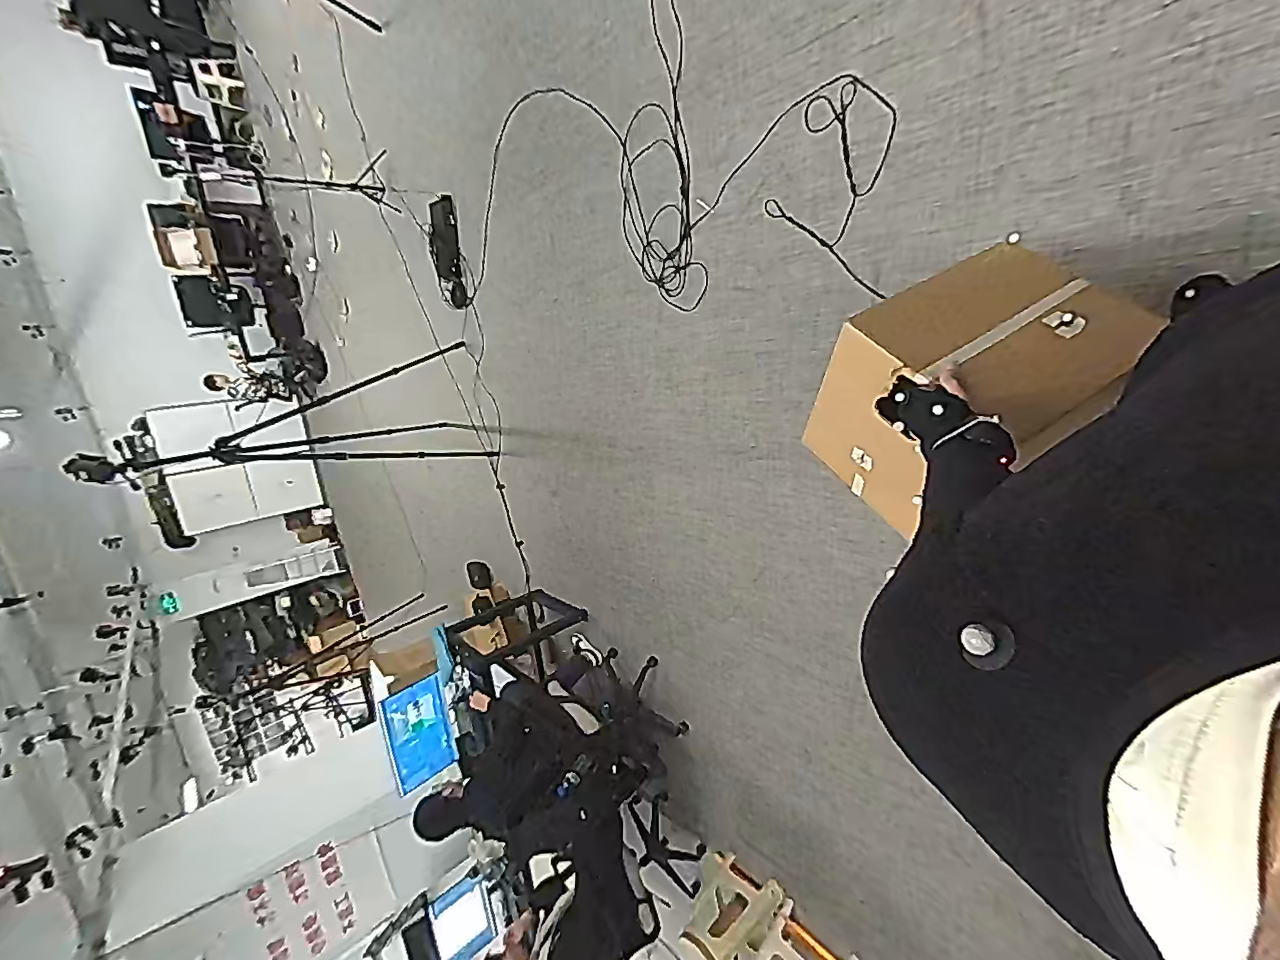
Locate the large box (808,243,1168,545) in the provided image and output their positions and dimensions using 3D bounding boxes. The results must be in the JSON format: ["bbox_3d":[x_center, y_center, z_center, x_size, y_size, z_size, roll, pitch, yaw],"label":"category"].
[{"bbox_3d":[0.580,-0.155,0.972,0.320,0.408,0.320,51,159,29],"label":"large box"}]
